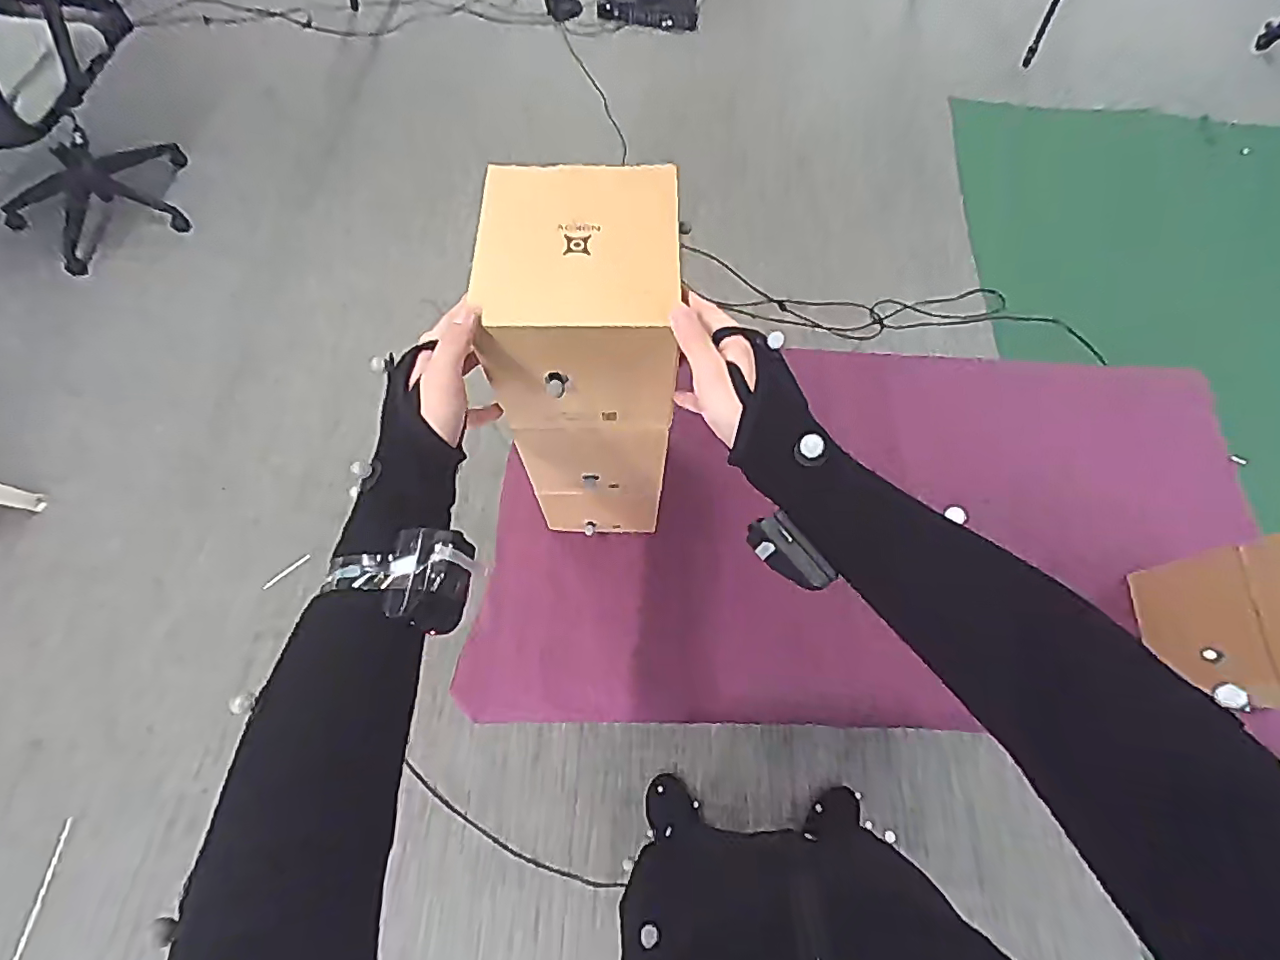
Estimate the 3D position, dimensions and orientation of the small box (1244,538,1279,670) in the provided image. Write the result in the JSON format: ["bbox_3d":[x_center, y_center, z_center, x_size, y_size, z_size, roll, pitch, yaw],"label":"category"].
[{"bbox_3d":[0.825,0.140,0.575,0.168,0.176,0.179,7,65,3],"label":"small box"}]

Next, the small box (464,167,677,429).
[{"bbox_3d":[-0.051,-0.159,0.509,0.168,0.176,0.179,-1,66,0],"label":"small box"}]

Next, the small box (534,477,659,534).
[{"bbox_3d":[-0.057,-0.029,0.808,0.168,0.176,0.179,1,67,-1],"label":"small box"}]

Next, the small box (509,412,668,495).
[{"bbox_3d":[-0.053,-0.094,0.658,0.168,0.176,0.179,0,67,0],"label":"small box"}]
